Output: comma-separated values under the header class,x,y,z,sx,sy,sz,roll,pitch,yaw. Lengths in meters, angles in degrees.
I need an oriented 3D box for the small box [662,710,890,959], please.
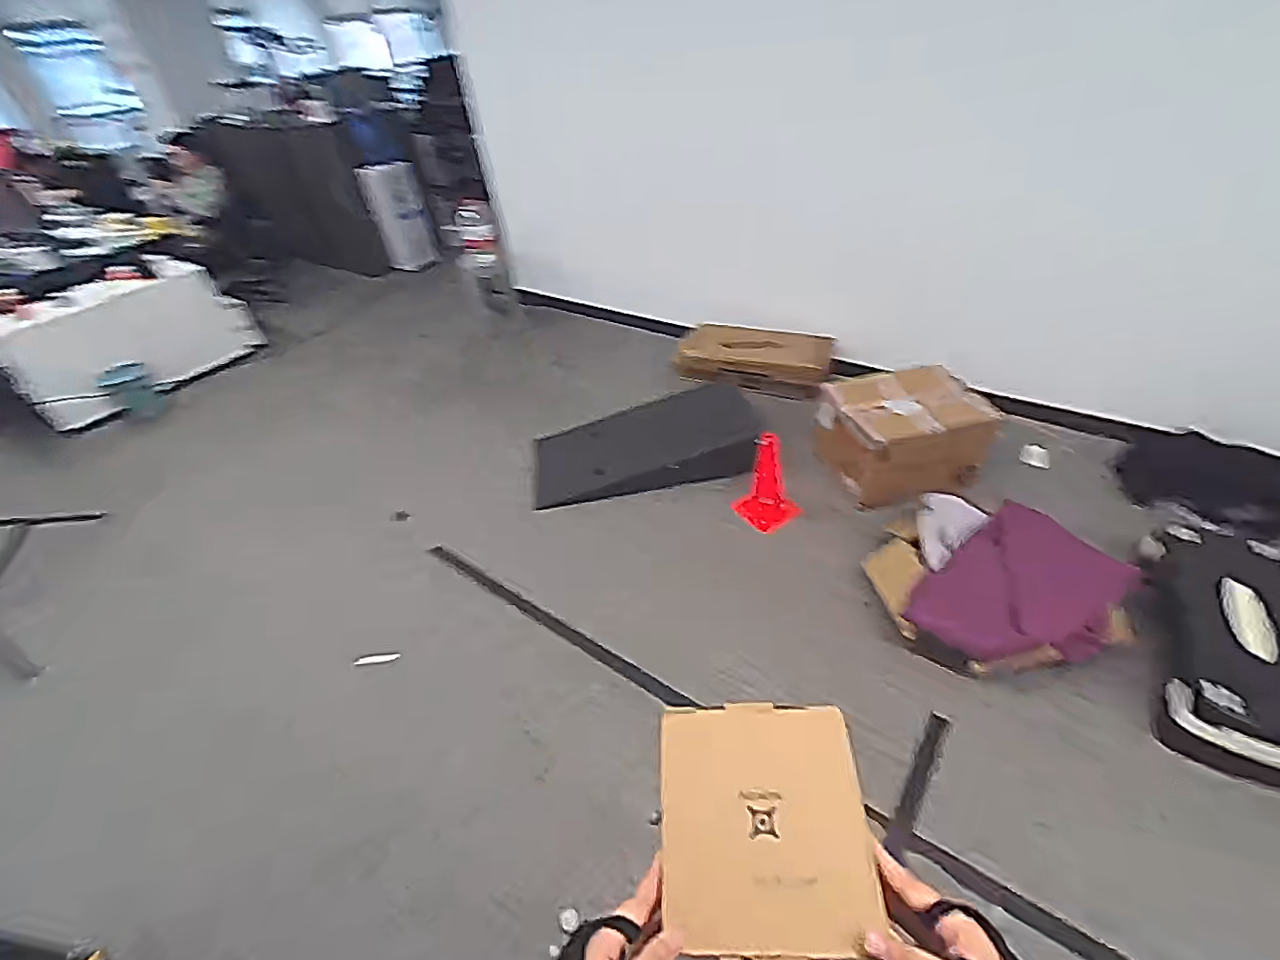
class,x,y,z,sx,sy,sz,roll,pitch,yaw
small box,0.106,0.333,0.507,0.168,0.176,0.179,-4,50,4
